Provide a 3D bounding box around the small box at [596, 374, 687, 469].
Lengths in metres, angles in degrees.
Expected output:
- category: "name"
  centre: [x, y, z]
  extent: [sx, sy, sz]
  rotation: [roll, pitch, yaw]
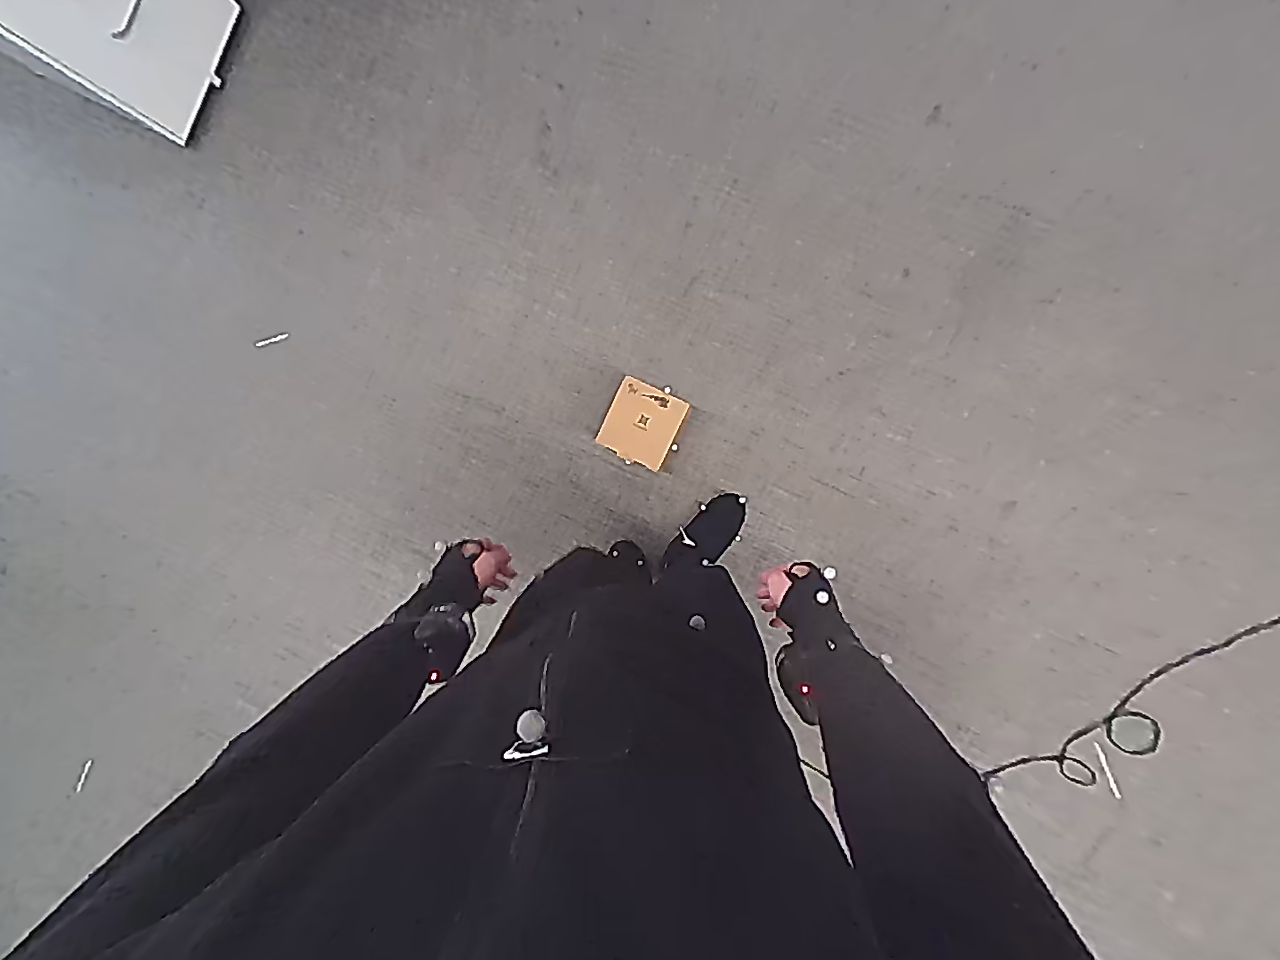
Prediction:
- category: "small box"
  centre: [0.013, -0.138, 1.331]
  extent: [0.168, 0.176, 0.179]
  rotation: [24, 93, 6]
